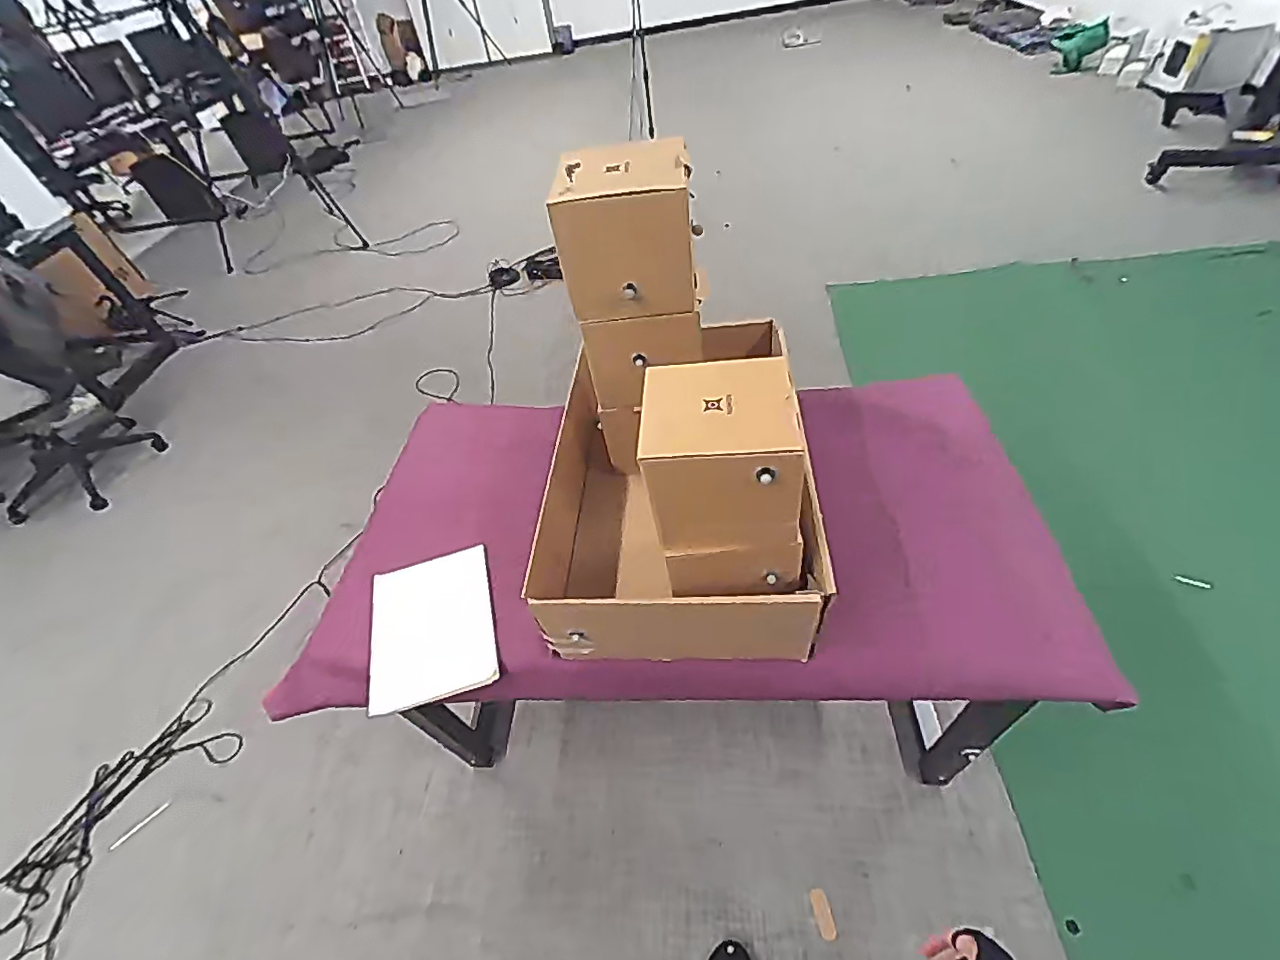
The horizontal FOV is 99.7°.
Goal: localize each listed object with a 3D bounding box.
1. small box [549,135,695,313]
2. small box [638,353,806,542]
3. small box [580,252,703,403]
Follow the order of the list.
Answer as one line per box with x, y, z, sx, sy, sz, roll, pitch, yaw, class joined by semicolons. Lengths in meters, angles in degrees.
-0.012;-0.352;0.754;0.179;0.176;0.168;-2;49;7;small box
0.100;-0.036;0.667;0.179;0.176;0.168;-2;47;8;small box
0.011;-0.242;0.874;0.179;0.176;0.168;-5;49;6;small box
